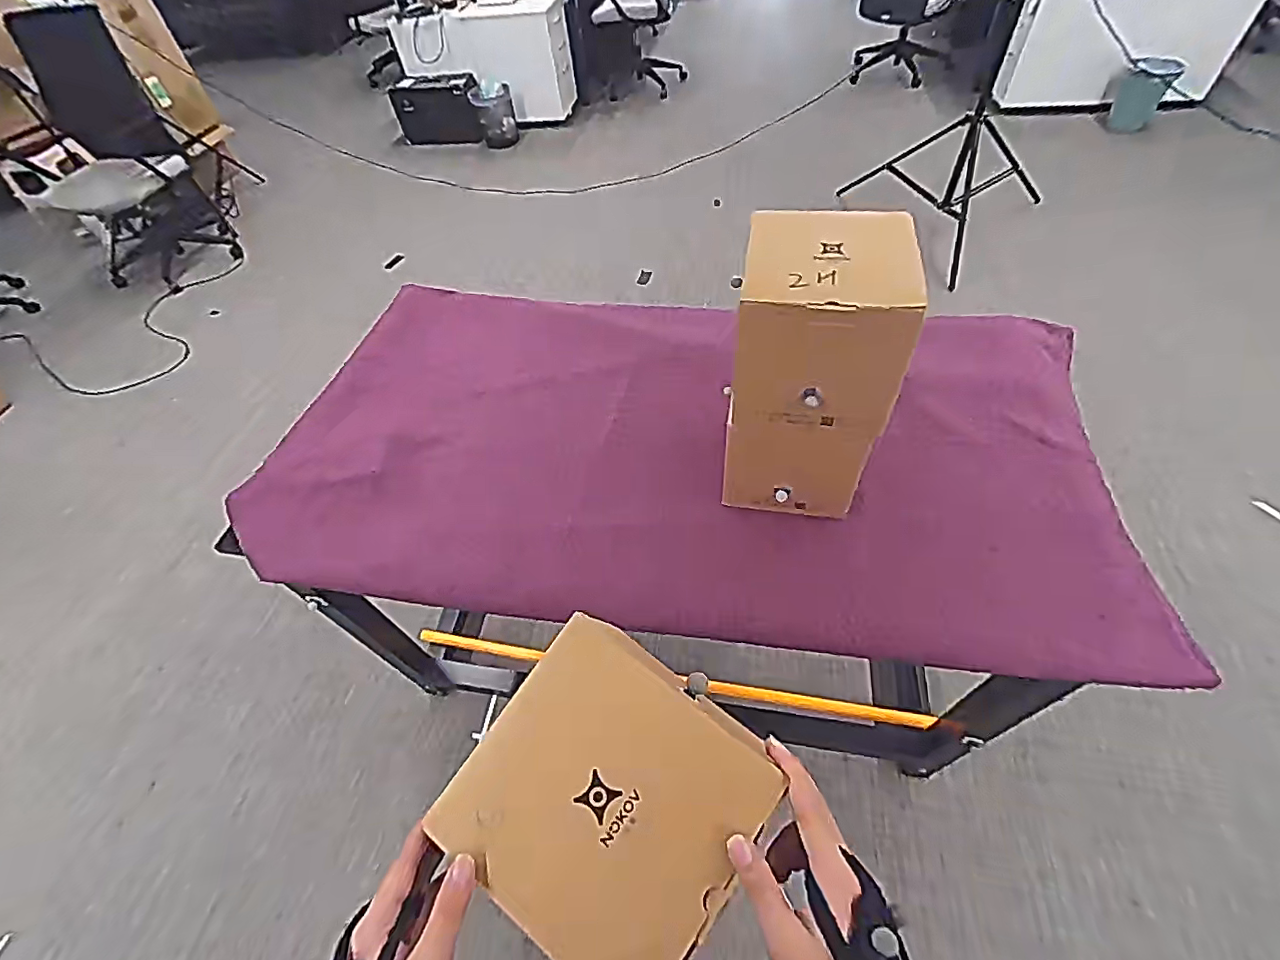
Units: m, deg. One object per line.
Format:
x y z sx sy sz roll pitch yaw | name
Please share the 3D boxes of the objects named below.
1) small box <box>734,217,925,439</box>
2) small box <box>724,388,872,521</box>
0.198 -0.170 0.606 0.168 0.176 0.179 6 53 12 | small box
0.207 -0.069 0.736 0.168 0.176 0.179 6 53 11 | small box
